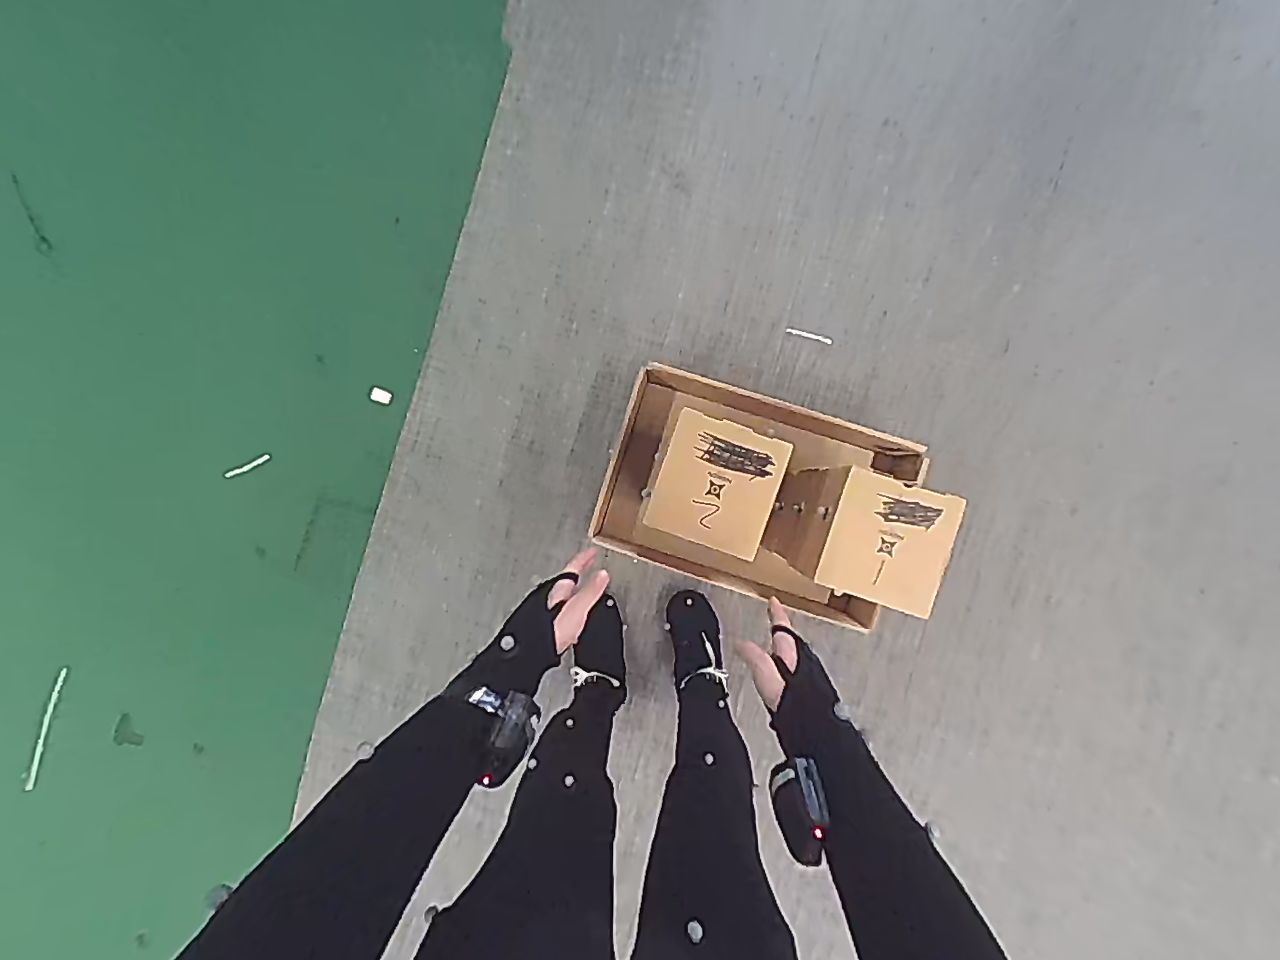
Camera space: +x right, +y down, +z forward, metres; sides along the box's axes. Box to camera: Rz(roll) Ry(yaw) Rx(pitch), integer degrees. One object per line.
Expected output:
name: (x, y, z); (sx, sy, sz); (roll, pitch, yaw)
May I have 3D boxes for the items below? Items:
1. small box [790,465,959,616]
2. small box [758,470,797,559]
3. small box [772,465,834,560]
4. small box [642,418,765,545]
small box: (0.348, 0.085, 0.839); (0.168, 0.176, 0.179); (18, 91, 3)
small box: (0.363, 0.086, 1.166); (0.168, 0.176, 0.179); (17, 90, 2)
small box: (0.358, 0.082, 1.003); (0.168, 0.176, 0.179); (19, 91, 3)
small box: (0.109, 0.003, 1.004); (0.168, 0.176, 0.179); (22, 90, 1)
